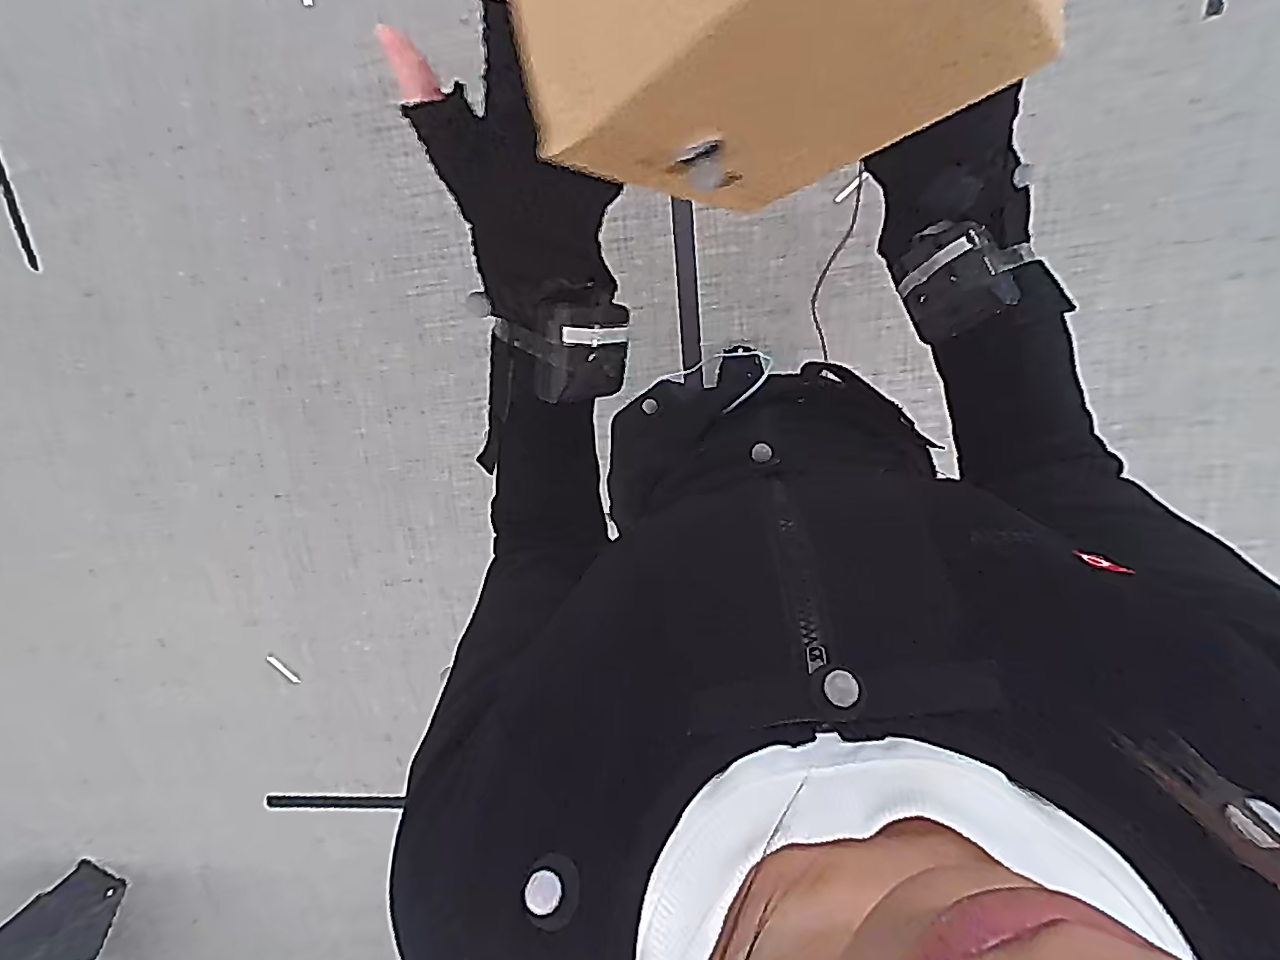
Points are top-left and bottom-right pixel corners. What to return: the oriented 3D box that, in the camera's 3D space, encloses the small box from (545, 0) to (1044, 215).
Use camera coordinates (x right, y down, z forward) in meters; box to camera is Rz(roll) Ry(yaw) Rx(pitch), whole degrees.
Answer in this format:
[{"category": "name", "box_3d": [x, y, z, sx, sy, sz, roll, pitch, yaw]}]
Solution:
[{"category": "small box", "box_3d": [0.063, -0.257, 0.250, 0.176, 0.168, 0.179, -7, 96, 44]}]
